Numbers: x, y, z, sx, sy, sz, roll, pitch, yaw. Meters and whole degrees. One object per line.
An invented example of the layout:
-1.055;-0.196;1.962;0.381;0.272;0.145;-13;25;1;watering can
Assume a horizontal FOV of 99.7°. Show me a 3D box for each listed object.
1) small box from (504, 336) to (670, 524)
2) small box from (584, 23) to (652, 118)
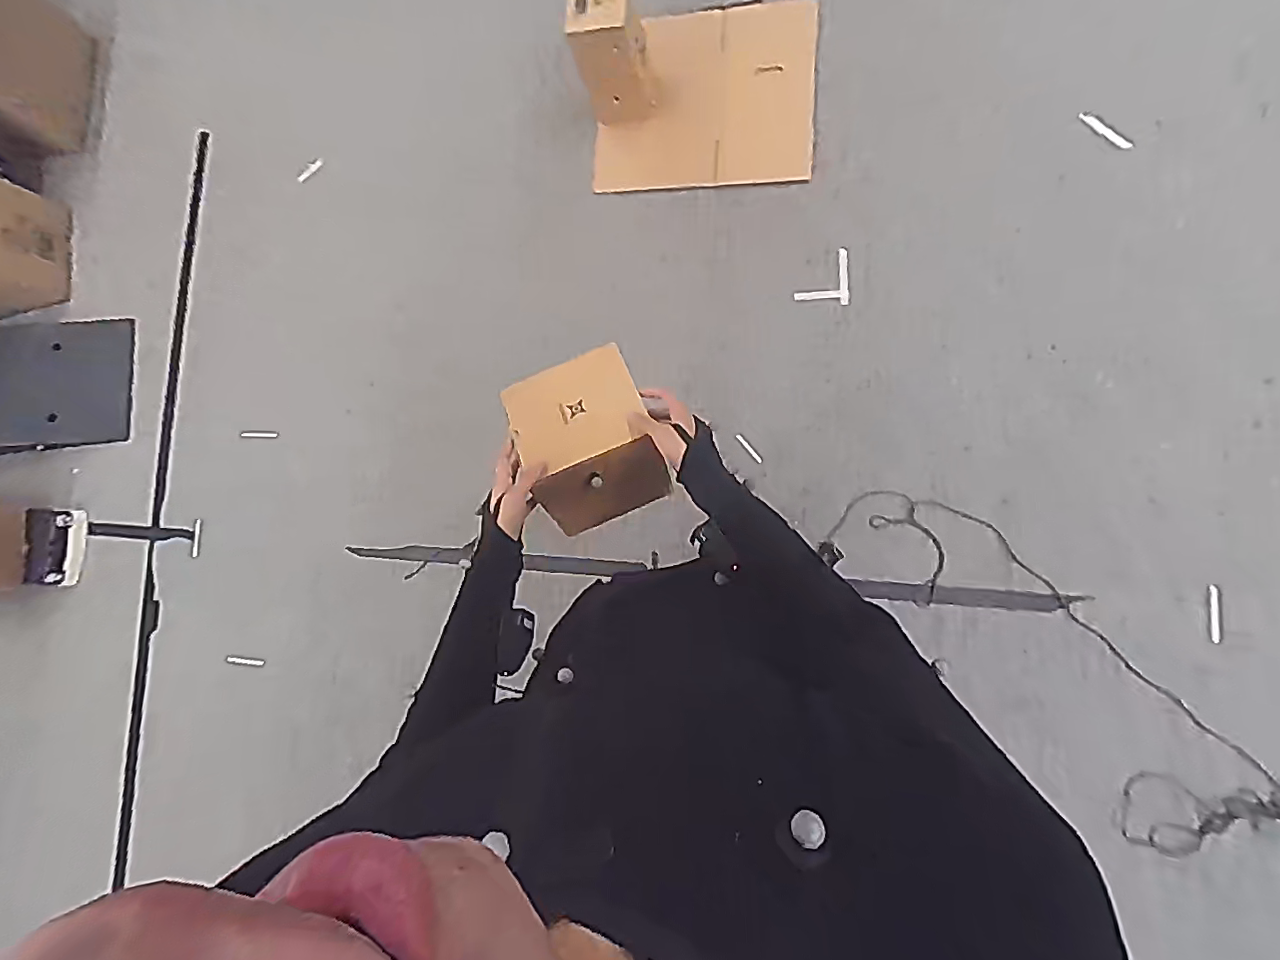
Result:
-0.065;-0.063;0.767;0.179;0.176;0.168;-23;60;1;small box
-0.064;-1.286;1.707;0.179;0.176;0.168;3;85;13;small box
